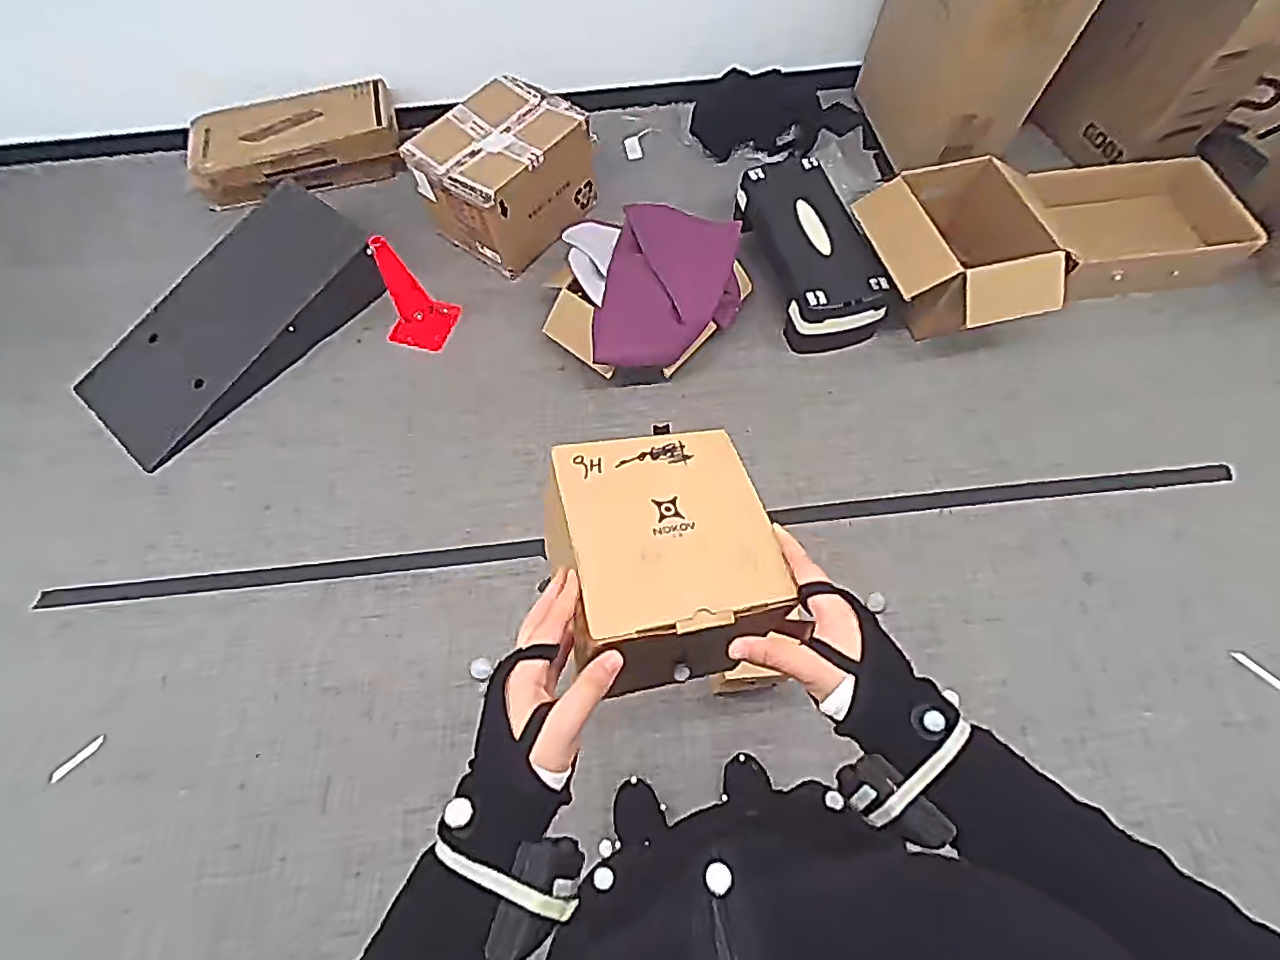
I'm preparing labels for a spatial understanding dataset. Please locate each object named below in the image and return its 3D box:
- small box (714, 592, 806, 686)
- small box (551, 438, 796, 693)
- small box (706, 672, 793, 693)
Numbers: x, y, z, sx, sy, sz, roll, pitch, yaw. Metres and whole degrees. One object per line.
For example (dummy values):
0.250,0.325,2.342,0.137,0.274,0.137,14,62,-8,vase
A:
0.239,0.339,1.158,0.168,0.176,0.179,-5,67,0,small box
0.012,0.085,0.503,0.168,0.176,0.179,-6,57,-16,small box
0.249,0.417,1.301,0.179,0.176,0.168,-6,66,-1,small box
